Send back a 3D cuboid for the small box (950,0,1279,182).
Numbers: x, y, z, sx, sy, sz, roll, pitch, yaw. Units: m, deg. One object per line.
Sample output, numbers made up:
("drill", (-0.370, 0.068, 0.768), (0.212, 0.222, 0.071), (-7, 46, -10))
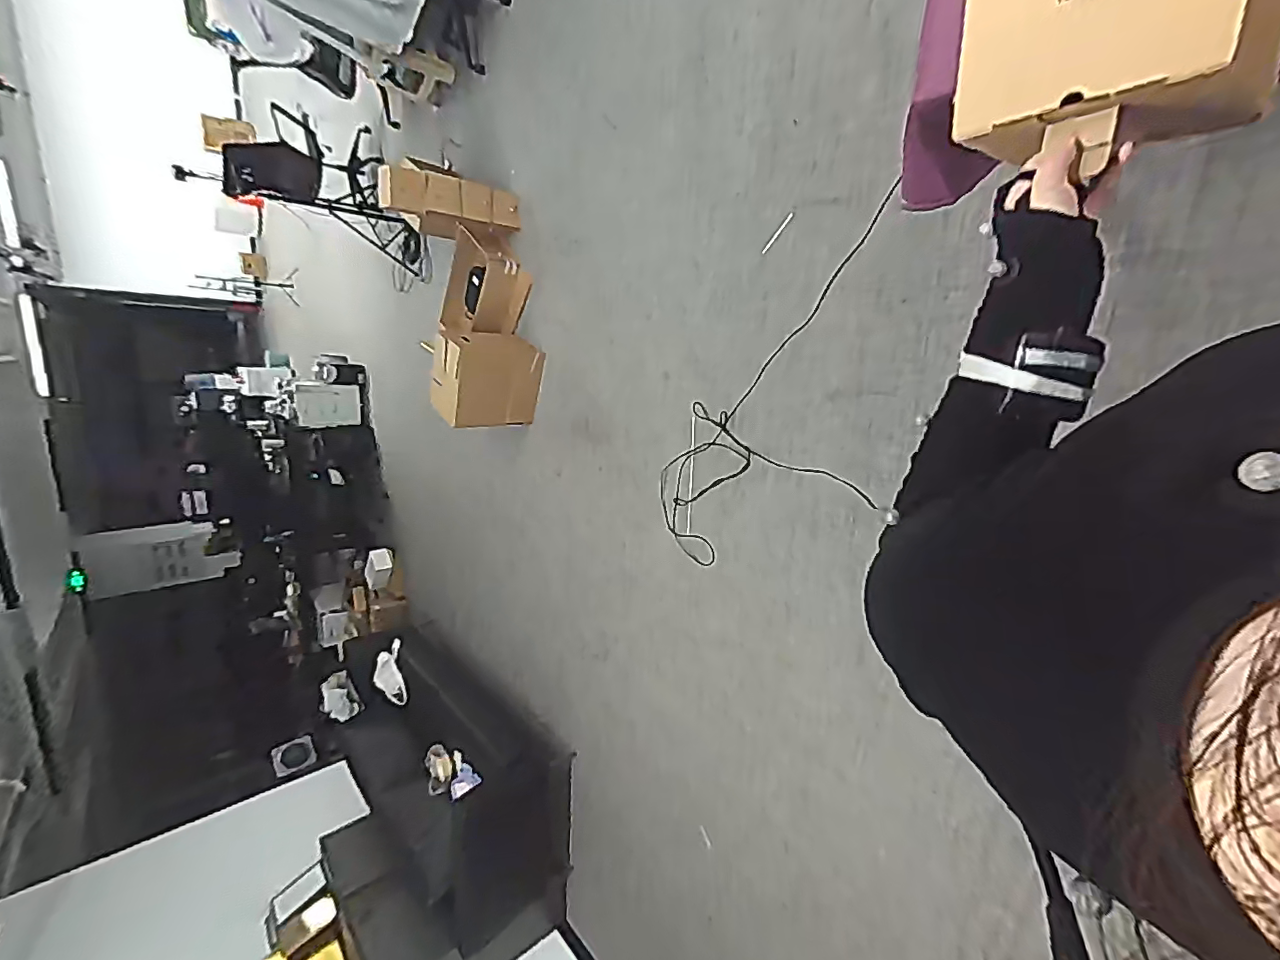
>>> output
("small box", (0.376, -0.358, 0.426), (0.168, 0.176, 0.179), (17, 114, 48))
